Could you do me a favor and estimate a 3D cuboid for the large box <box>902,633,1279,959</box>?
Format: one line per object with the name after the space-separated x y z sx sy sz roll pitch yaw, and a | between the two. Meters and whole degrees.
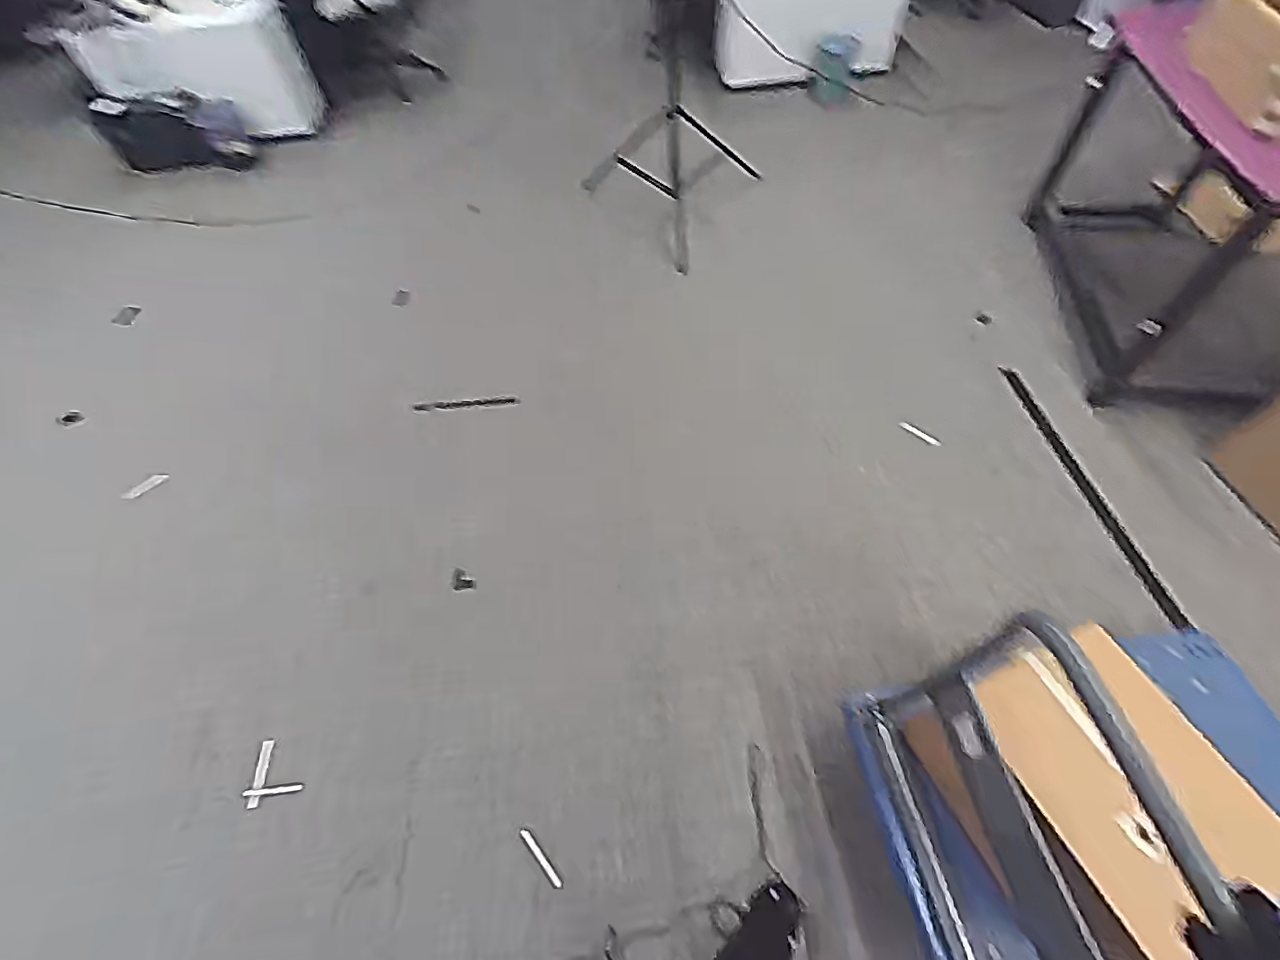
0.769 0.557 0.970 0.320 0.320 0.408 -21 57 -10 | large box
